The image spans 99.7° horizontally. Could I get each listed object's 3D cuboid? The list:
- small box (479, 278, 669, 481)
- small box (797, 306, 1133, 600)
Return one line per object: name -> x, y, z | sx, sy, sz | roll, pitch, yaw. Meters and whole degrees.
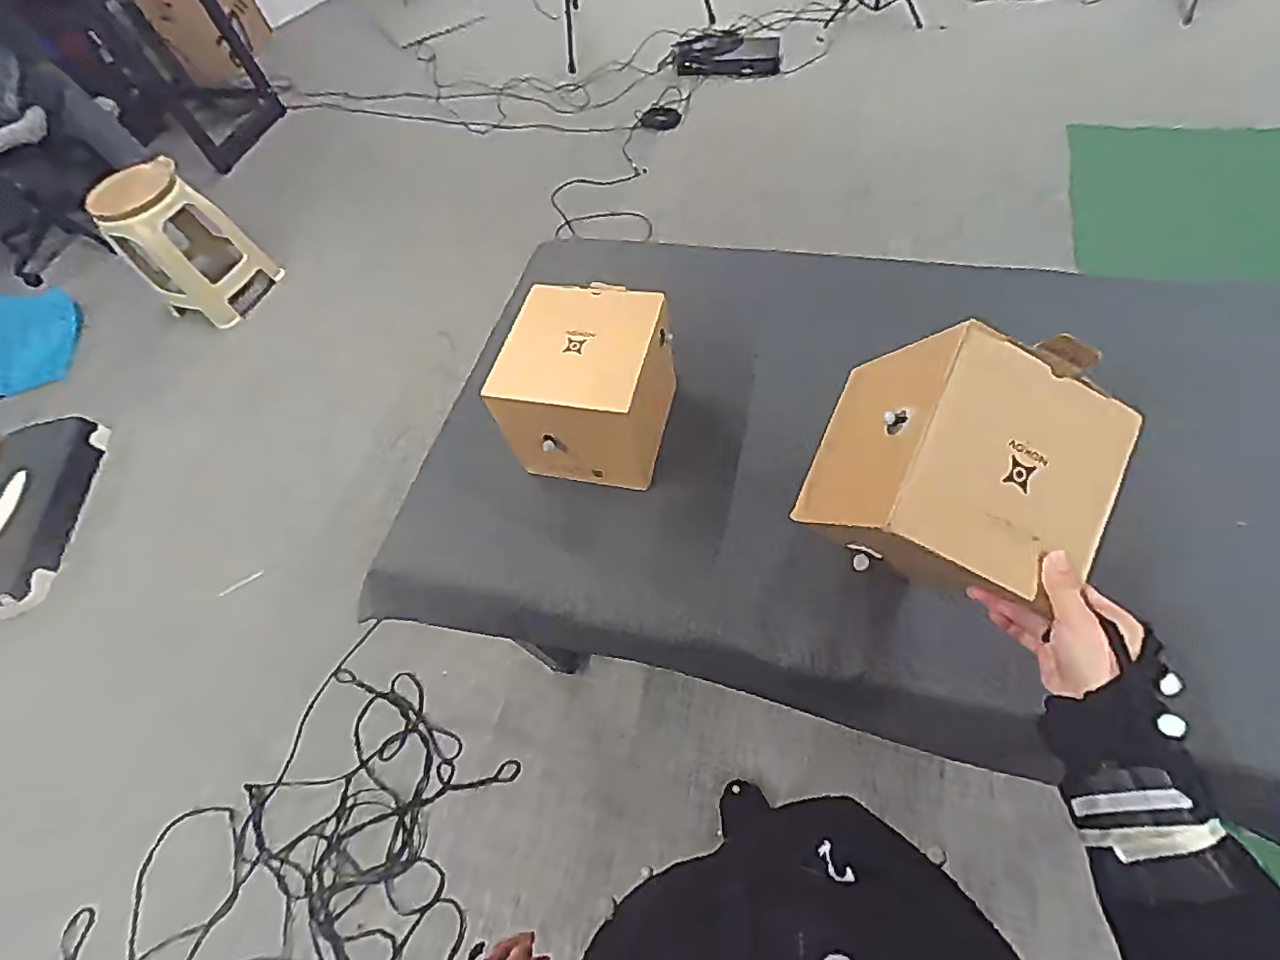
small box -> -0.063, -0.117, 0.657 | 0.168, 0.176, 0.179 | 8, 61, 13
small box -> 0.267, -0.017, 0.484 | 0.168, 0.176, 0.179 | 25, 85, -6
